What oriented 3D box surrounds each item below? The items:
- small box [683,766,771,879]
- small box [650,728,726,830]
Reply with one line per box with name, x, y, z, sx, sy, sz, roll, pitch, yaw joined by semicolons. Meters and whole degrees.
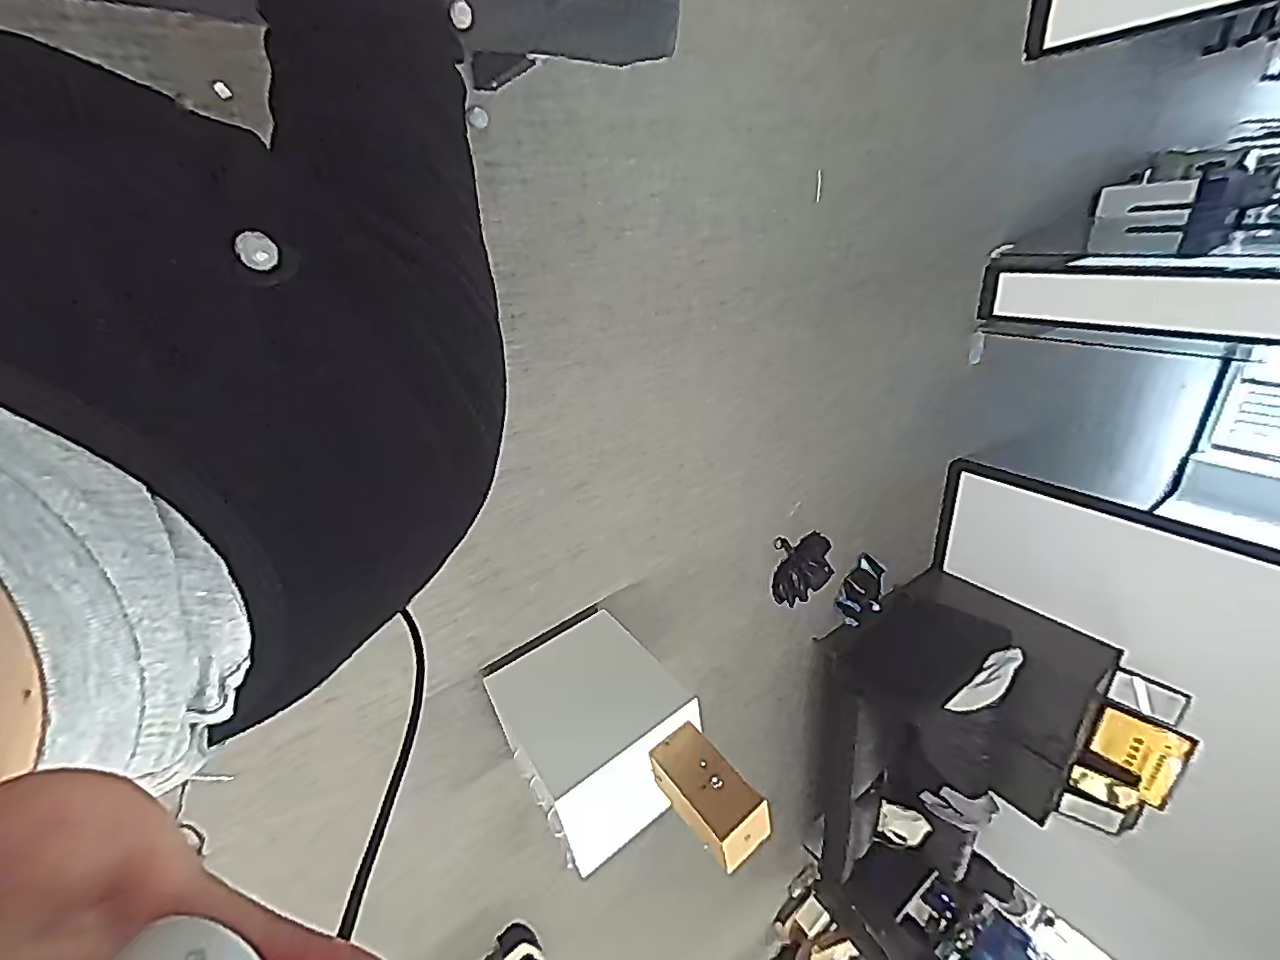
small box;0.241;0.946;1.507;0.168;0.176;0.179;-30;124;-24
small box;0.149;0.894;1.631;0.168;0.176;0.179;-27;124;-25
